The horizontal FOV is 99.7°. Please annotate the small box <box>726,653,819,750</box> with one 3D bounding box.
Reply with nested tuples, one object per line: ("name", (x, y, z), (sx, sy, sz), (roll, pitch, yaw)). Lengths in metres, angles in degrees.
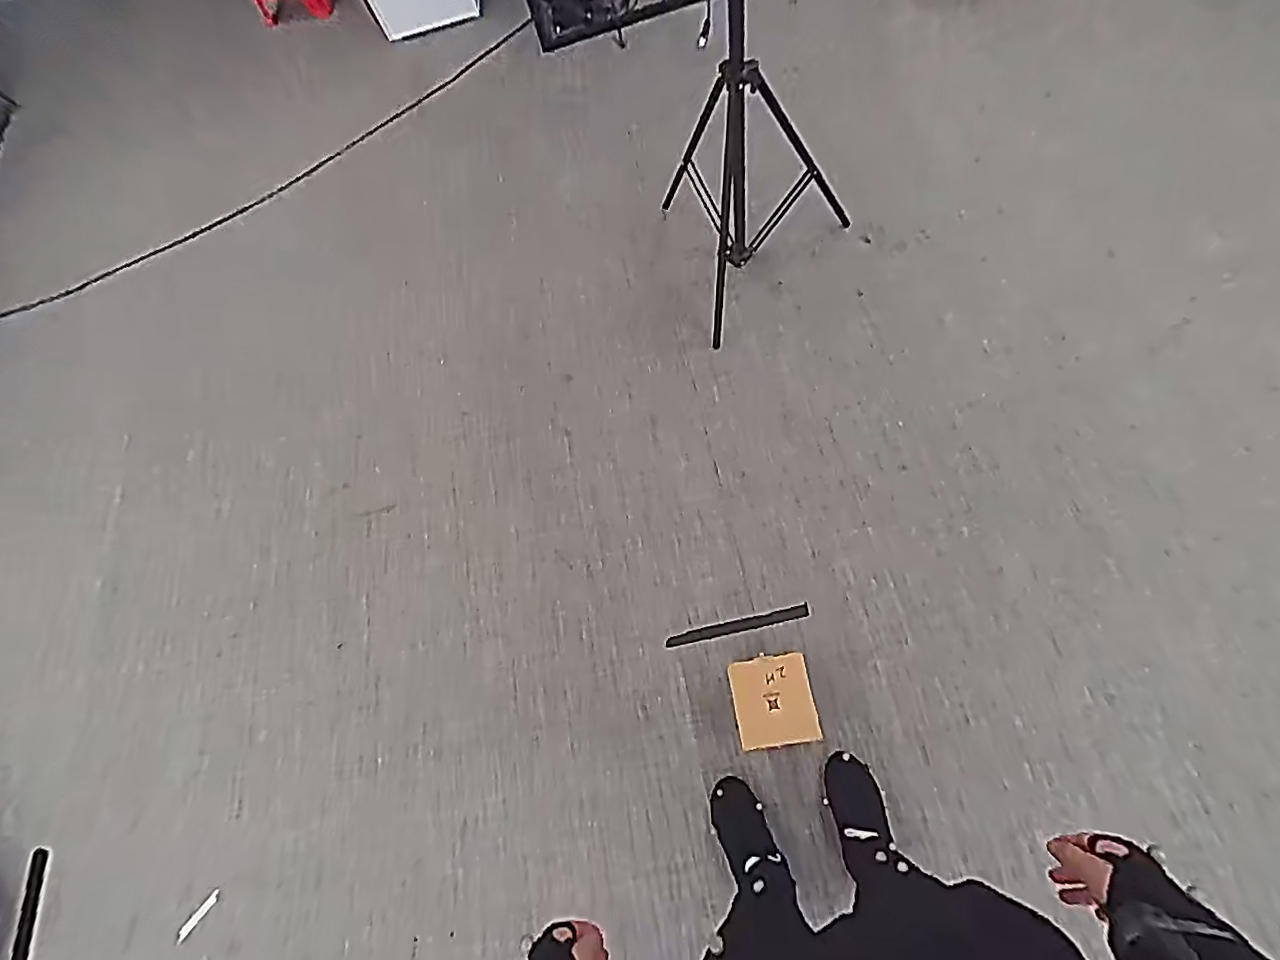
("small box", (0.292, 0.490, 1.210), (0.168, 0.176, 0.179), (-11, 68, 7))
